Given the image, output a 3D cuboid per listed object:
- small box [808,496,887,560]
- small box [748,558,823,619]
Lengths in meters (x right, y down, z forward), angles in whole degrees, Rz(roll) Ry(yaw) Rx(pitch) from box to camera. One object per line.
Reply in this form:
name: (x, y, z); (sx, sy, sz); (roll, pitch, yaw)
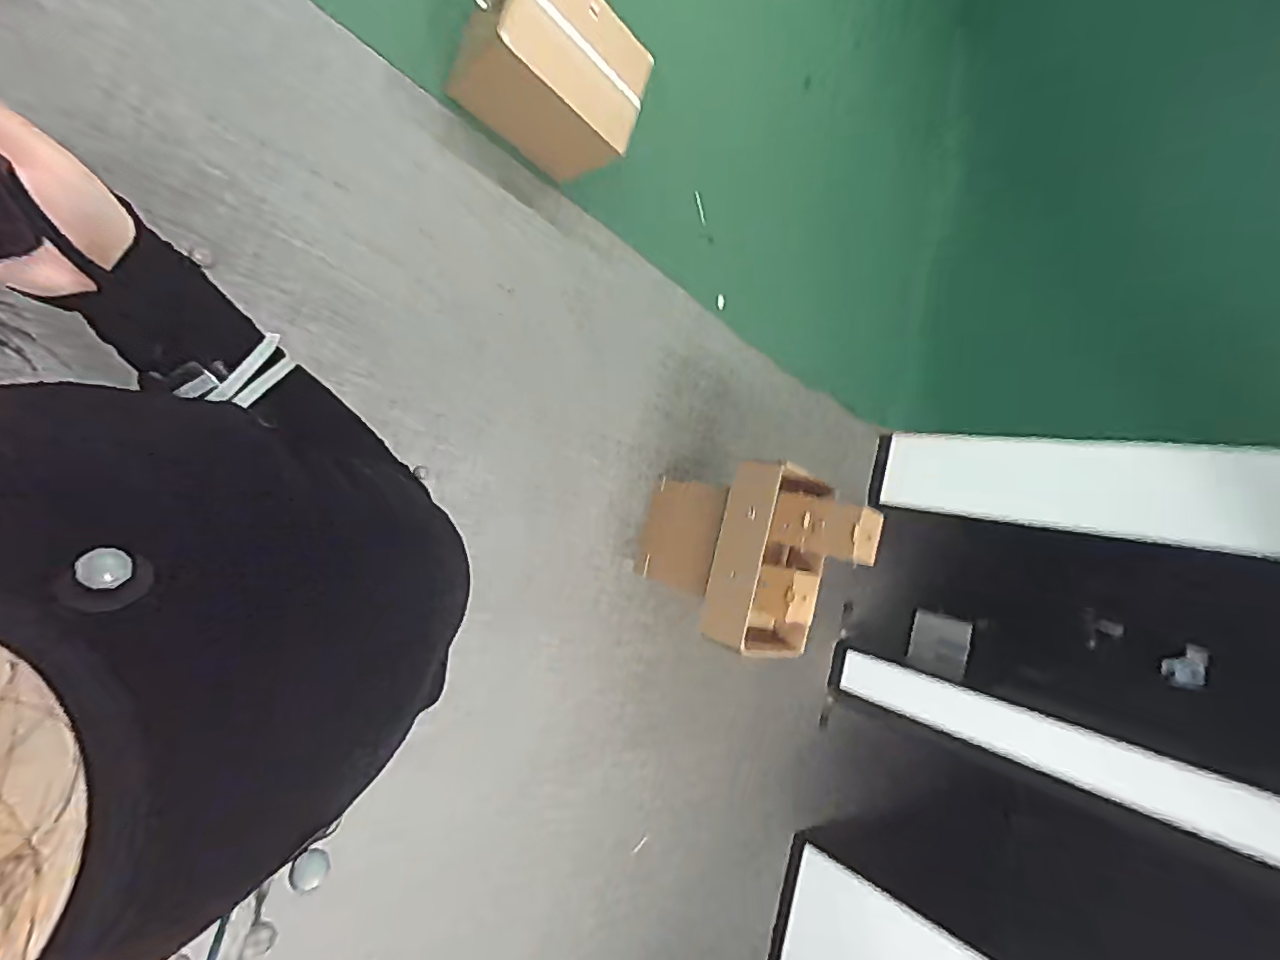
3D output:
small box: (0.679, 0.154, 1.773); (0.179, 0.176, 0.168); (19, 84, -43)
small box: (0.504, 0.372, 1.872); (0.179, 0.176, 0.168); (18, 83, -42)
